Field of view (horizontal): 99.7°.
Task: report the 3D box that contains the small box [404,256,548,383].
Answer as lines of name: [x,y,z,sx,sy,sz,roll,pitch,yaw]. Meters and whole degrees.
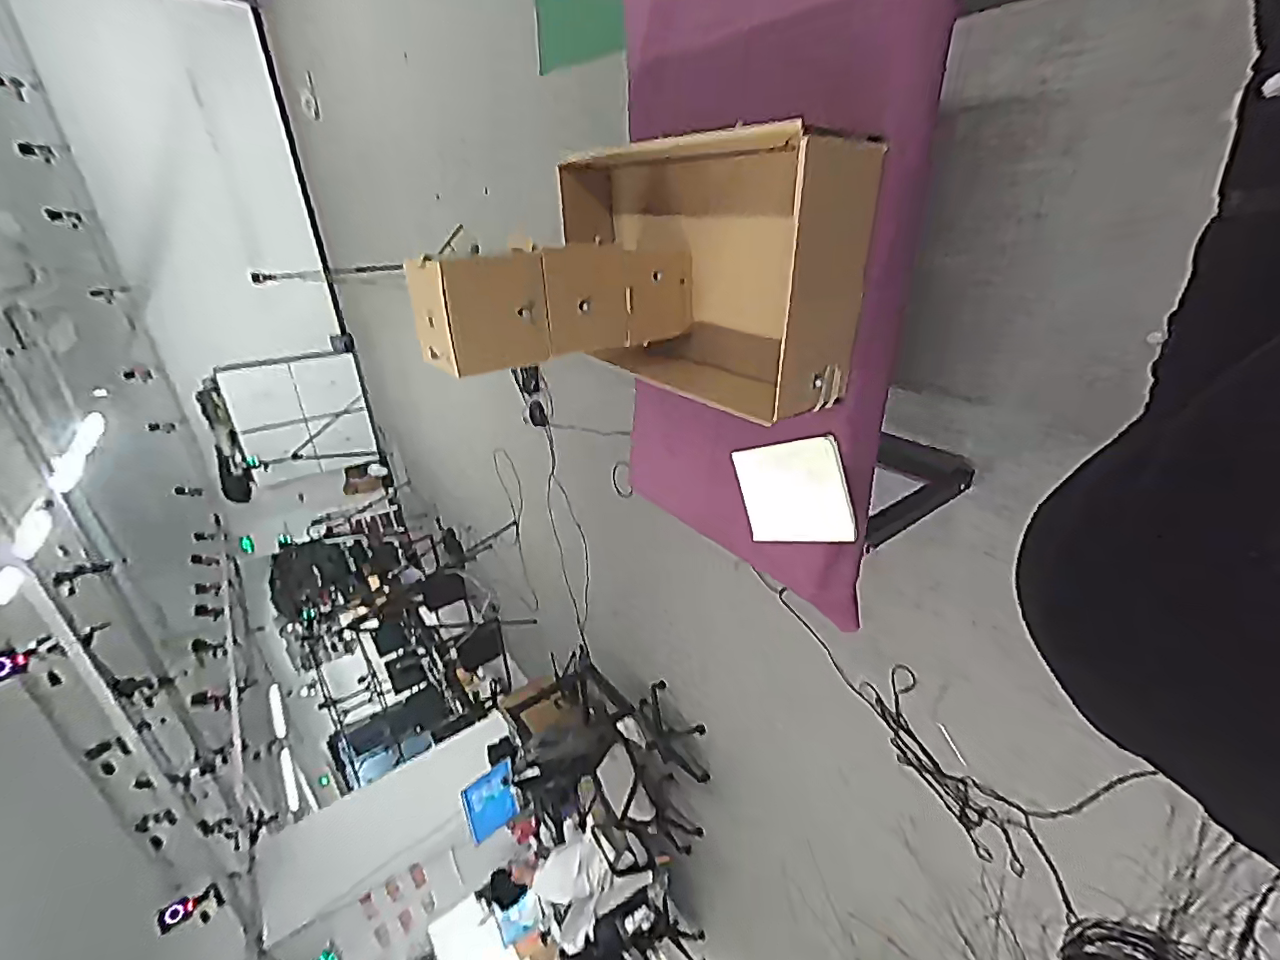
small box: [-0.271,-0.277,0.908,0.168,0.176,0.179,28,128,45]

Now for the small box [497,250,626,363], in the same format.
small box: [-0.140,-0.327,0.994,0.168,0.176,0.179,25,127,47]
